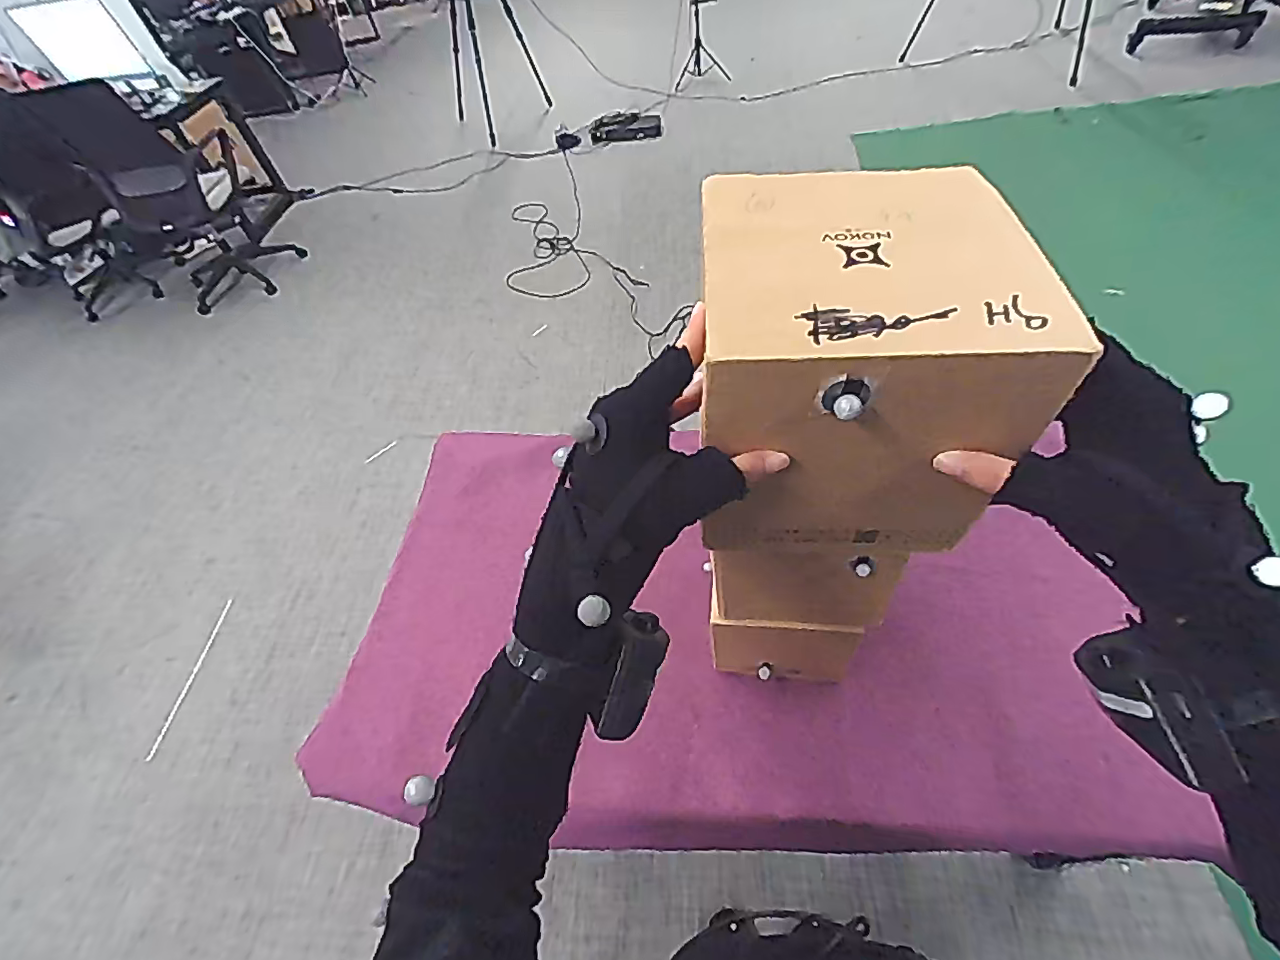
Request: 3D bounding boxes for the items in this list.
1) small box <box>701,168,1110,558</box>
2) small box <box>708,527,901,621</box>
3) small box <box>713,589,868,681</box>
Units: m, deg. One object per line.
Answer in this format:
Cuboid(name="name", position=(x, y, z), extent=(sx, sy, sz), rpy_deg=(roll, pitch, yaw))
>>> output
Cuboid(name="small box", position=(0.123, -0.069, 0.342), extent=(0.168, 0.176, 0.179), rpy_deg=(-1, 52, 6))
Cuboid(name="small box", position=(0.167, 0.038, 0.569), extent=(0.179, 0.176, 0.168), rpy_deg=(0, 52, 10))
Cuboid(name="small box", position=(0.183, 0.139, 0.695), extent=(0.168, 0.176, 0.179), rpy_deg=(1, 53, 12))
